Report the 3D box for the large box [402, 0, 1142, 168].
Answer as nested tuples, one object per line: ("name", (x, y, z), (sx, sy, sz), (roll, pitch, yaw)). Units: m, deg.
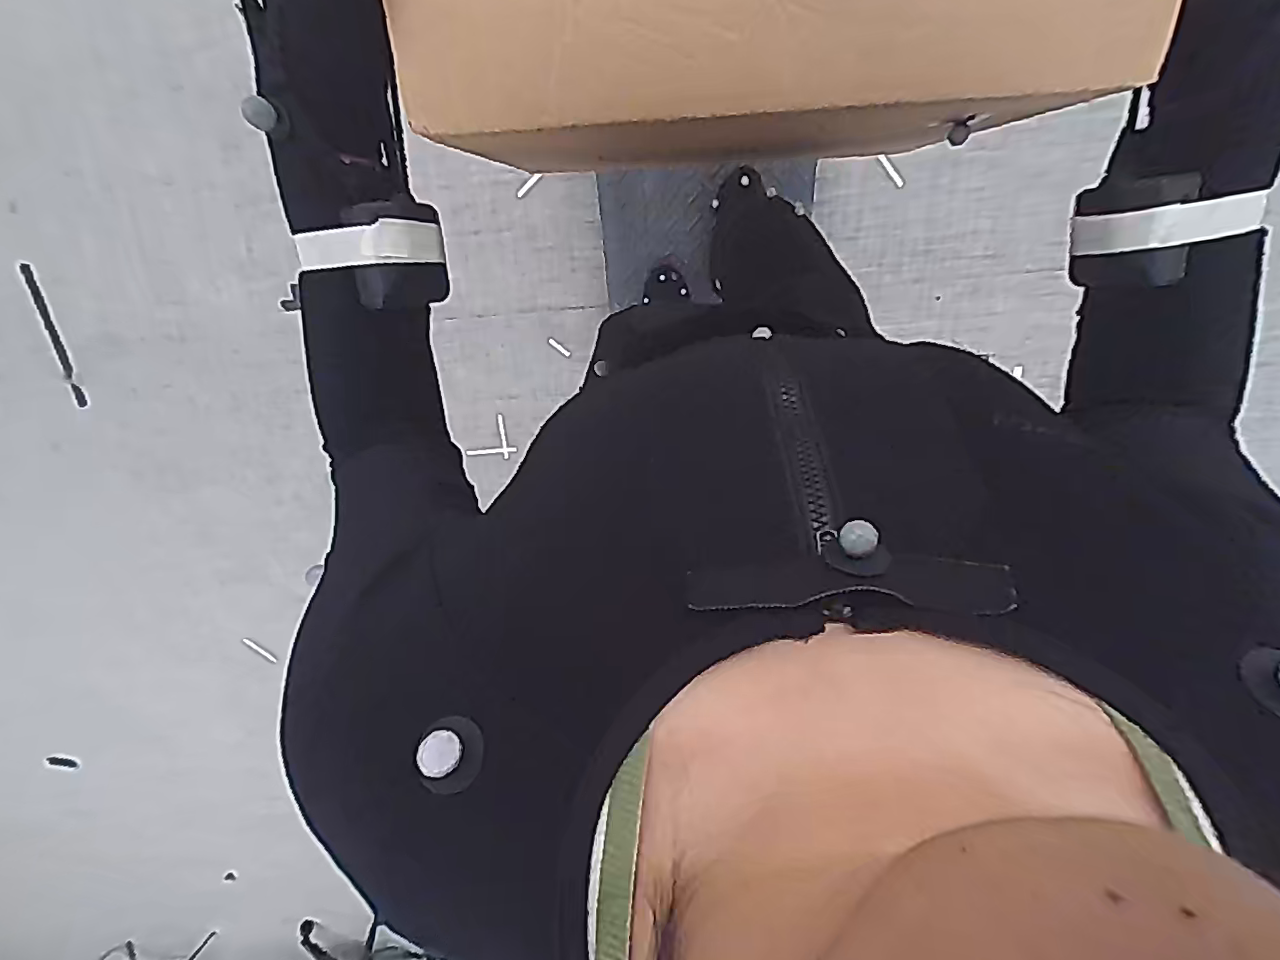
("large box", (0.067, -0.416, 0.377), (0.408, 0.320, 0.320), (-2, 115, 3))
